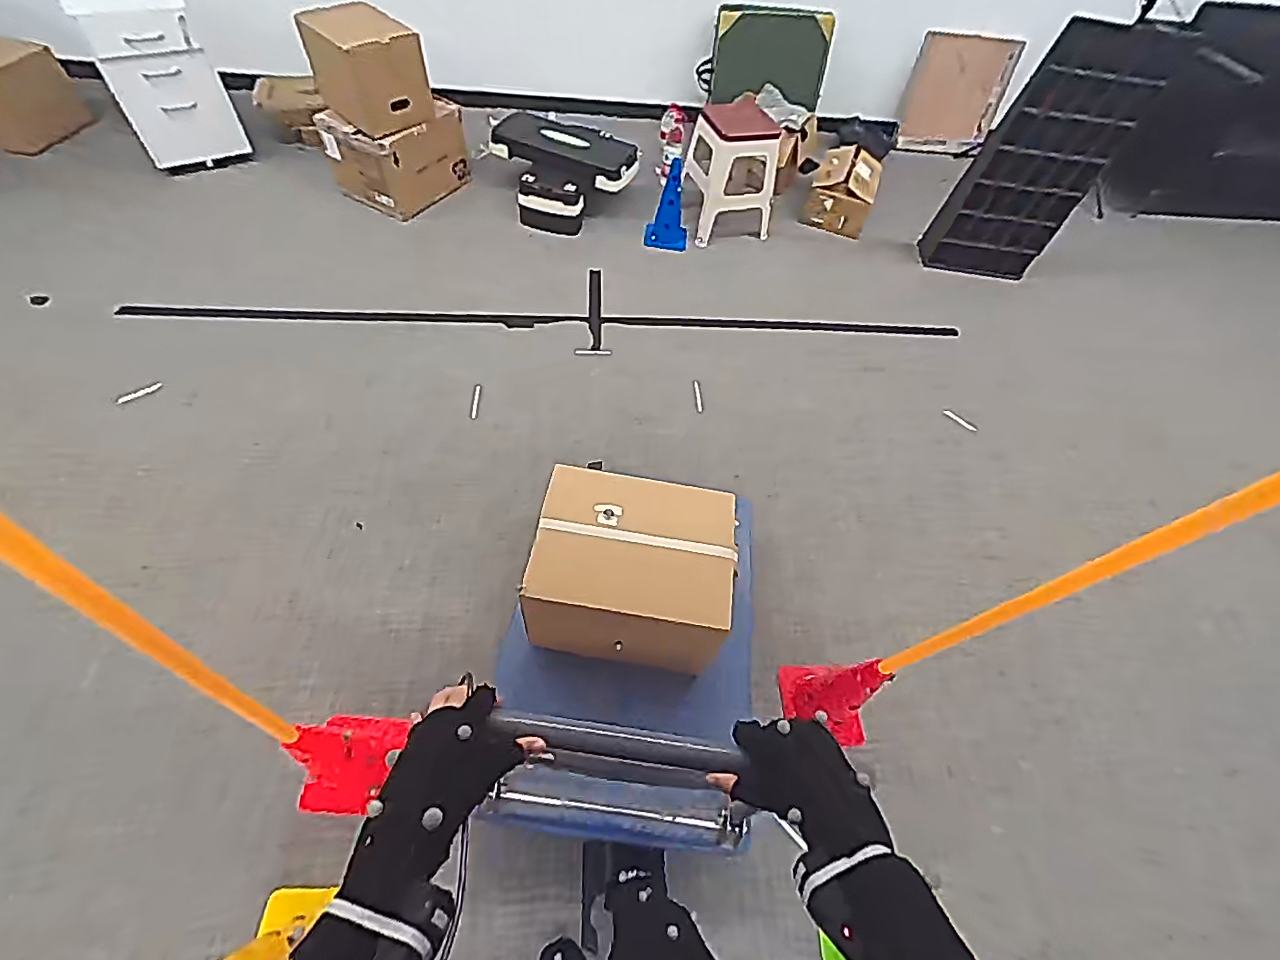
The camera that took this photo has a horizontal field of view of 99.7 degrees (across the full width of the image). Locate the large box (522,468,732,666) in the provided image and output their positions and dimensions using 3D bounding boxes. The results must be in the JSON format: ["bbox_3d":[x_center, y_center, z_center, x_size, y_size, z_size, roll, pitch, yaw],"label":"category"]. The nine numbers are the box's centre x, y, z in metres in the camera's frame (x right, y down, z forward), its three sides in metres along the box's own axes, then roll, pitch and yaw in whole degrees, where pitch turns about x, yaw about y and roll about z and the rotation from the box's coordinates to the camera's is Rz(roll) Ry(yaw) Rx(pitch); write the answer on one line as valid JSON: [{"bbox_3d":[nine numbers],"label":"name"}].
[{"bbox_3d":[-0.022,0.207,1.230,0.408,0.320,0.320,9,55,0],"label":"large box"}]

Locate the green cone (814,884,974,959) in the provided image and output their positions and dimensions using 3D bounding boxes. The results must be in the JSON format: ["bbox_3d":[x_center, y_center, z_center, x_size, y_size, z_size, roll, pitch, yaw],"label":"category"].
[{"bbox_3d":[0.495,0.879,0.998,0.202,0.368,0.200,4,55,-5],"label":"green cone"}]

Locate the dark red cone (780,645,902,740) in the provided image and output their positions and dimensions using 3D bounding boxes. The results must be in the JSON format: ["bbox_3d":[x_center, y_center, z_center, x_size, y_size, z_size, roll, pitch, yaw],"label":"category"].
[{"bbox_3d":[0.491,0.471,1.261,0.201,0.394,0.202,2,56,-8],"label":"dark red cone"}]

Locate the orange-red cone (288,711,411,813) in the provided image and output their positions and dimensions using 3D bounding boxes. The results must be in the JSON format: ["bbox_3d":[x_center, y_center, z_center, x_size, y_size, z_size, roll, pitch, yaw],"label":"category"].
[{"bbox_3d":[-0.630,0.543,1.105,0.198,0.360,0.199,7,53,-3],"label":"orange-red cone"}]
